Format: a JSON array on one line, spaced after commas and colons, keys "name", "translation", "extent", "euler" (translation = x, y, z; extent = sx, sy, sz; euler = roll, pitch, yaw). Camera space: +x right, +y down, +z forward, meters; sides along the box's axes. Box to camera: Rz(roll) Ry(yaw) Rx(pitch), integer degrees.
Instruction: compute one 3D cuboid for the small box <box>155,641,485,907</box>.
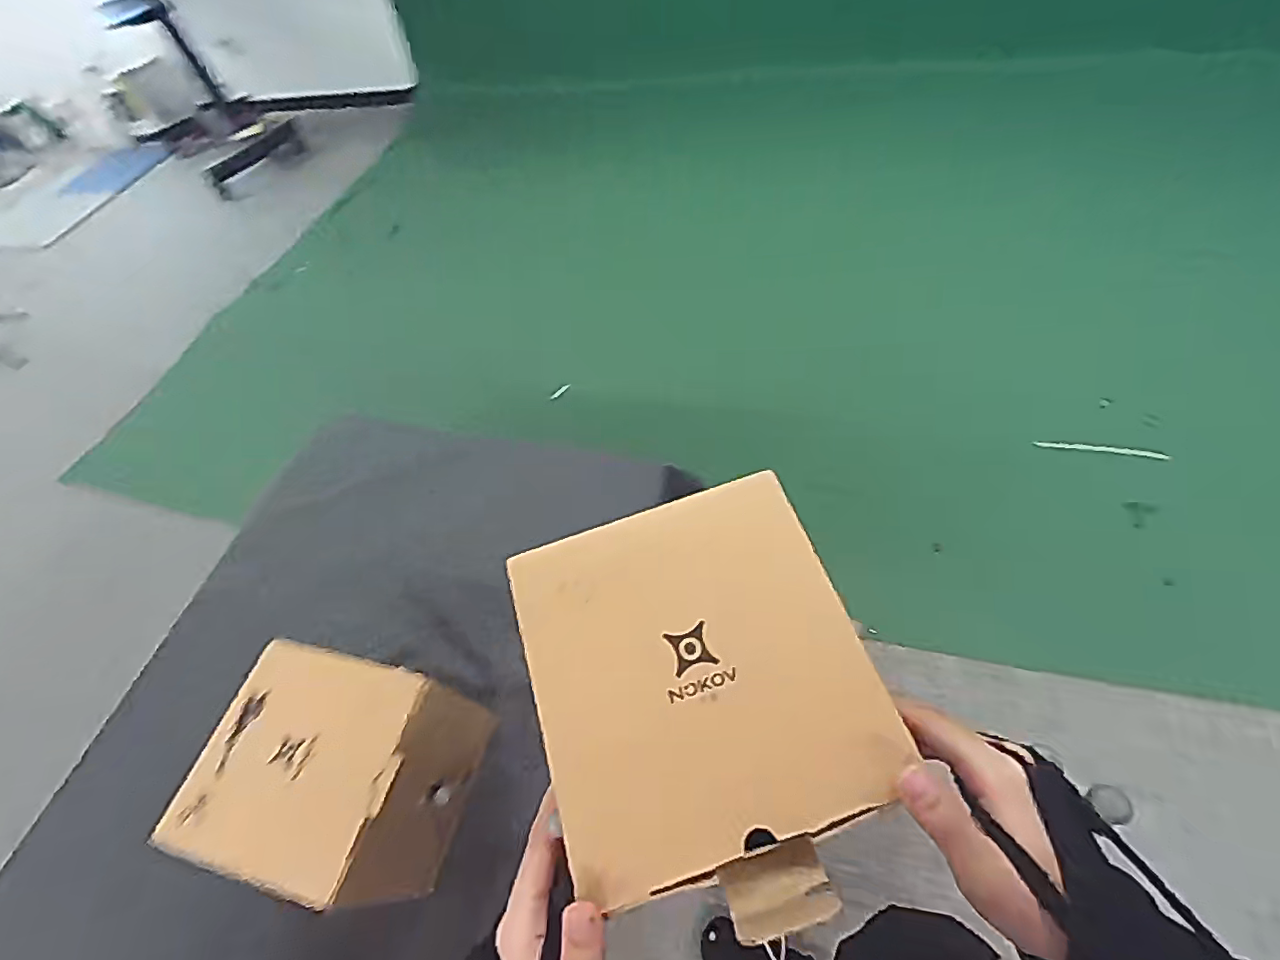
[{"name": "small box", "translation": [-0.274, 0.272, 0.515], "extent": [0.179, 0.176, 0.168], "euler": [7, 58, 13]}]
